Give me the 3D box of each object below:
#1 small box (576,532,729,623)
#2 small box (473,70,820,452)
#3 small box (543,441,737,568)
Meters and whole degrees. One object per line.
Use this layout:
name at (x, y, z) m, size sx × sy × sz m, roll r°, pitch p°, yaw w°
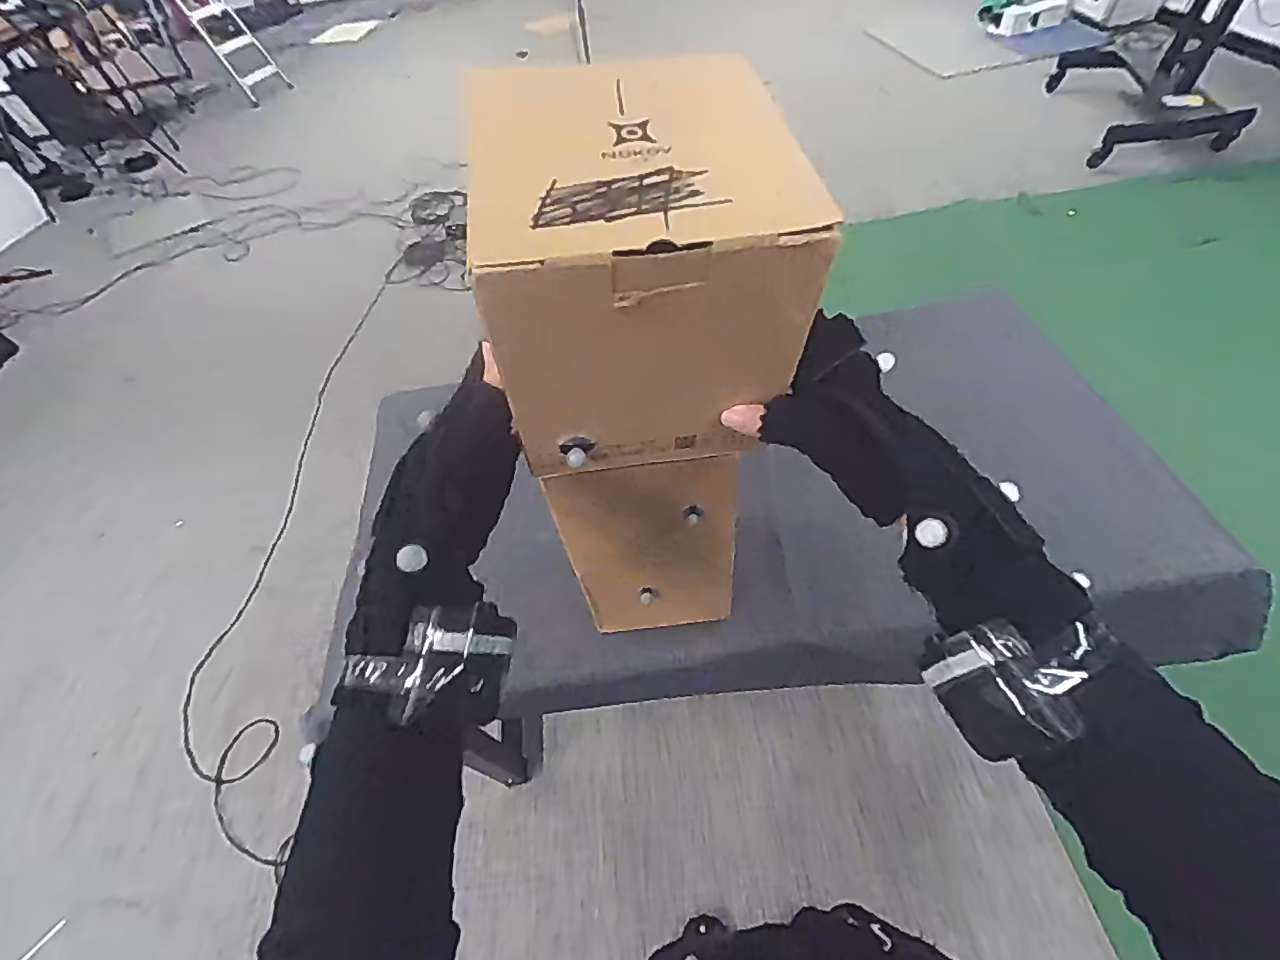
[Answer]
small box at (0.019, 0.076, 0.714) m, size 0.179 × 0.176 × 0.168 m, roll -7°, pitch 51°, yaw 2°
small box at (-0.005, -0.131, 0.358) m, size 0.168 × 0.176 × 0.179 m, roll -7°, pitch 58°, yaw -5°
small box at (0.002, -0.022, 0.586) m, size 0.179 × 0.176 × 0.168 m, roll -8°, pitch 49°, yaw 2°
